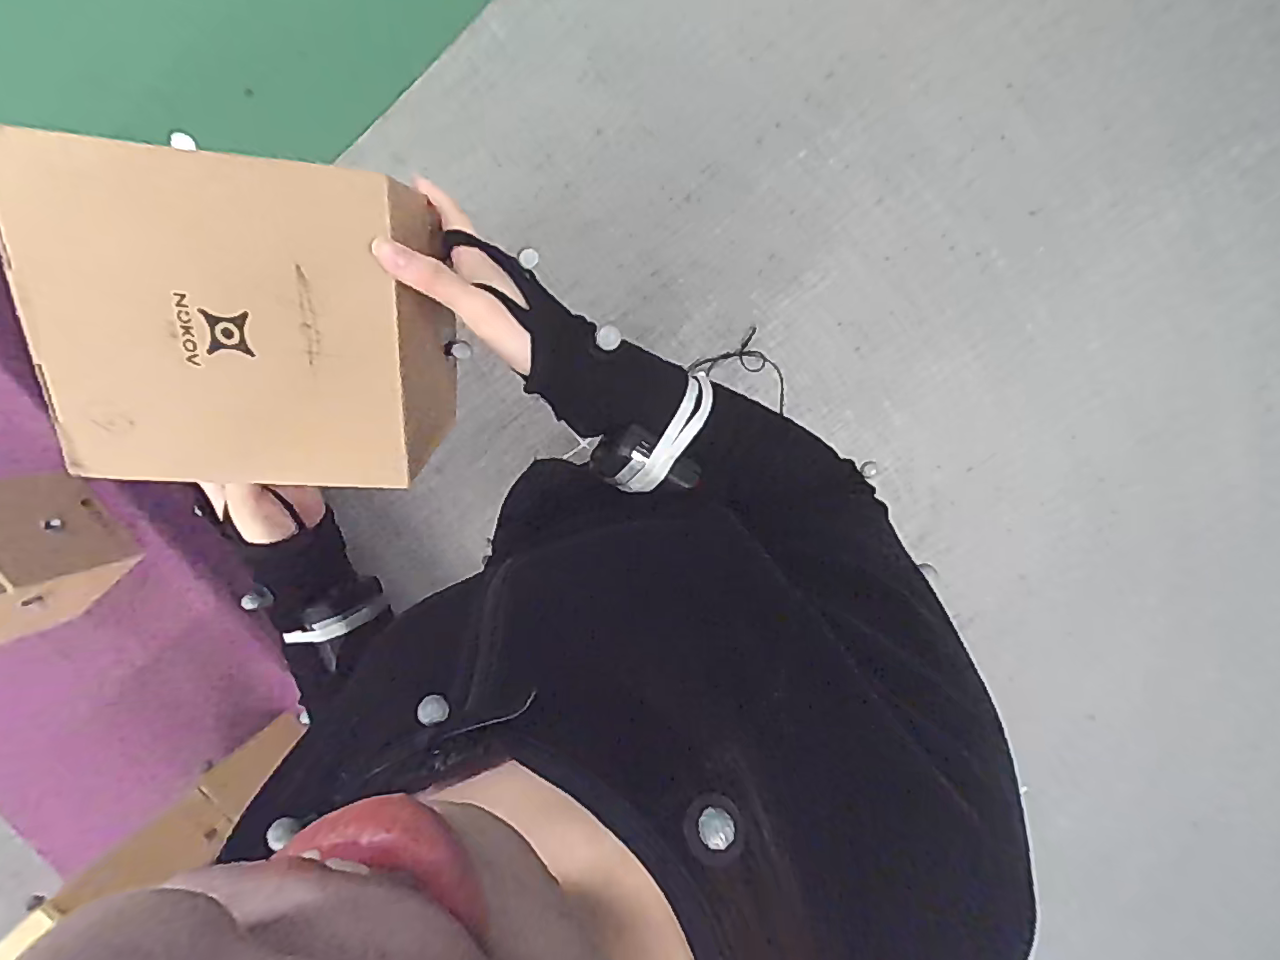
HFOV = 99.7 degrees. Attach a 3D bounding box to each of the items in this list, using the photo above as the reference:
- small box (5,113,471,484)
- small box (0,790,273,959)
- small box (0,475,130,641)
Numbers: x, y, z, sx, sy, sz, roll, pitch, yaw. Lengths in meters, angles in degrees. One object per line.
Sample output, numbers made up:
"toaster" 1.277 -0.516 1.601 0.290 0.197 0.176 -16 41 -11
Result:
"small box" -0.215 -0.108 0.352 0.179 0.176 0.168 4 111 -10
"small box" -0.581 0.511 0.621 0.179 0.176 0.168 -41 94 8
"small box" -0.878 0.110 0.751 0.179 0.176 0.168 -37 94 9
